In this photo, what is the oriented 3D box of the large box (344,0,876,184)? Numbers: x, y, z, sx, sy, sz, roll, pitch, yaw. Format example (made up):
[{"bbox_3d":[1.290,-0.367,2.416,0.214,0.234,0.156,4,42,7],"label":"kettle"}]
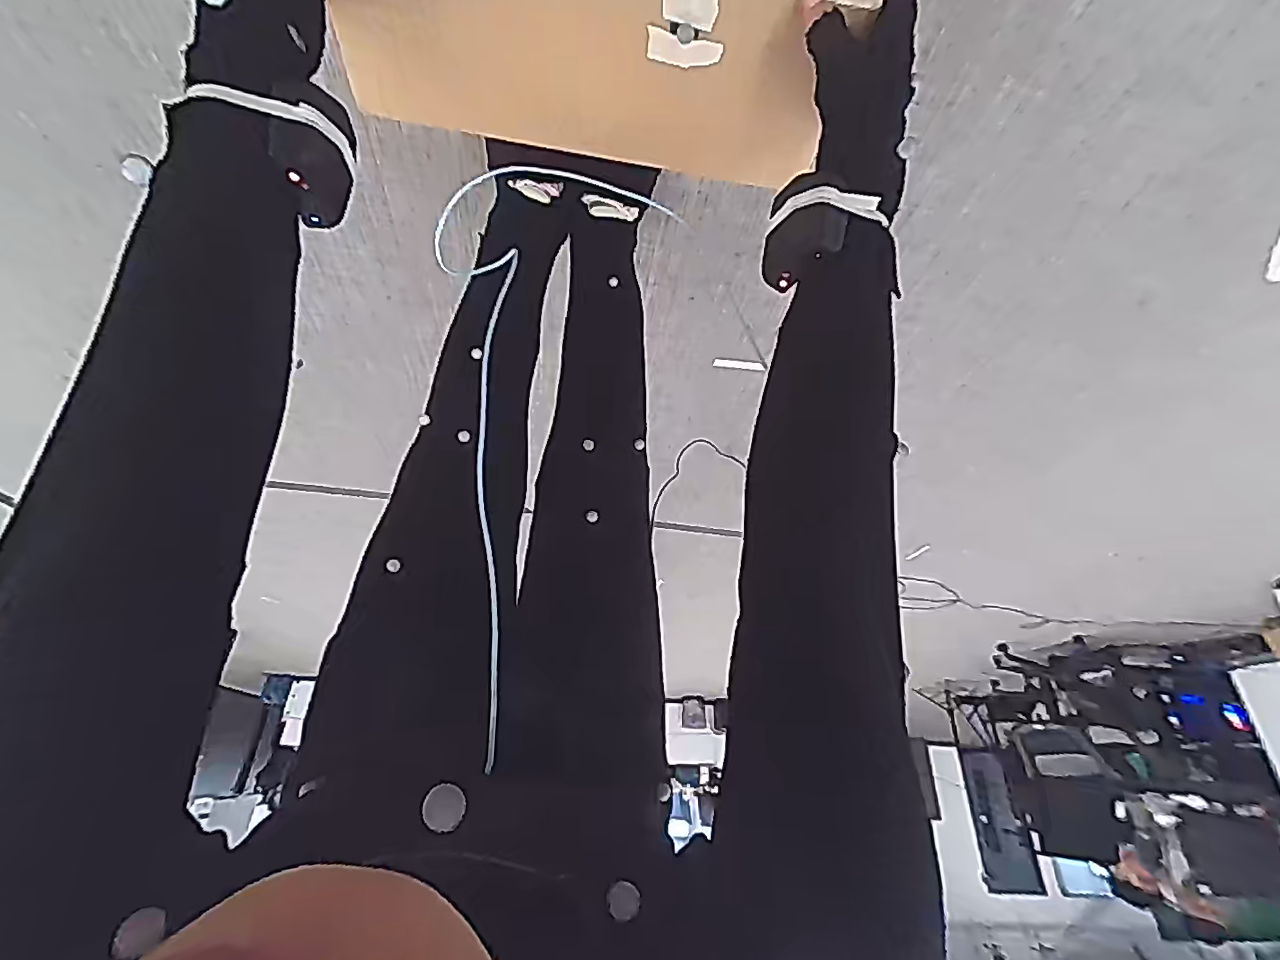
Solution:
[{"bbox_3d":[-0.015,-0.508,0.446,0.408,0.320,0.320,6,151,-7],"label":"large box"}]
